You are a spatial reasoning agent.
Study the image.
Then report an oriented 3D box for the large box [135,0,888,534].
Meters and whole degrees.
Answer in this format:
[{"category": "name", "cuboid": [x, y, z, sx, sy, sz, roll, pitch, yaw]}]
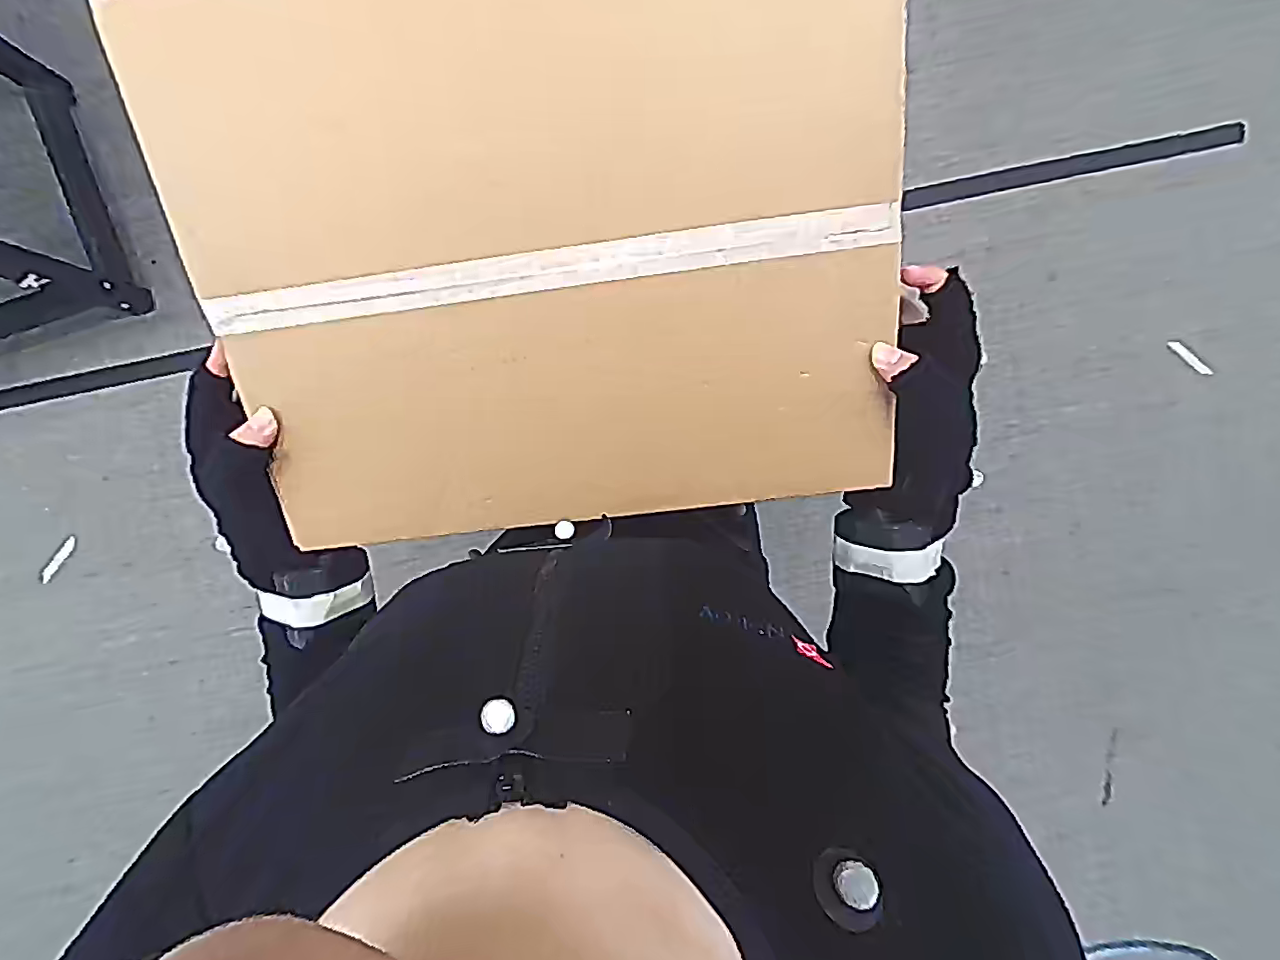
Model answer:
[{"category": "large box", "cuboid": [-0.055, -0.177, 0.463, 0.408, 0.320, 0.320, -7, 110, 3]}]
